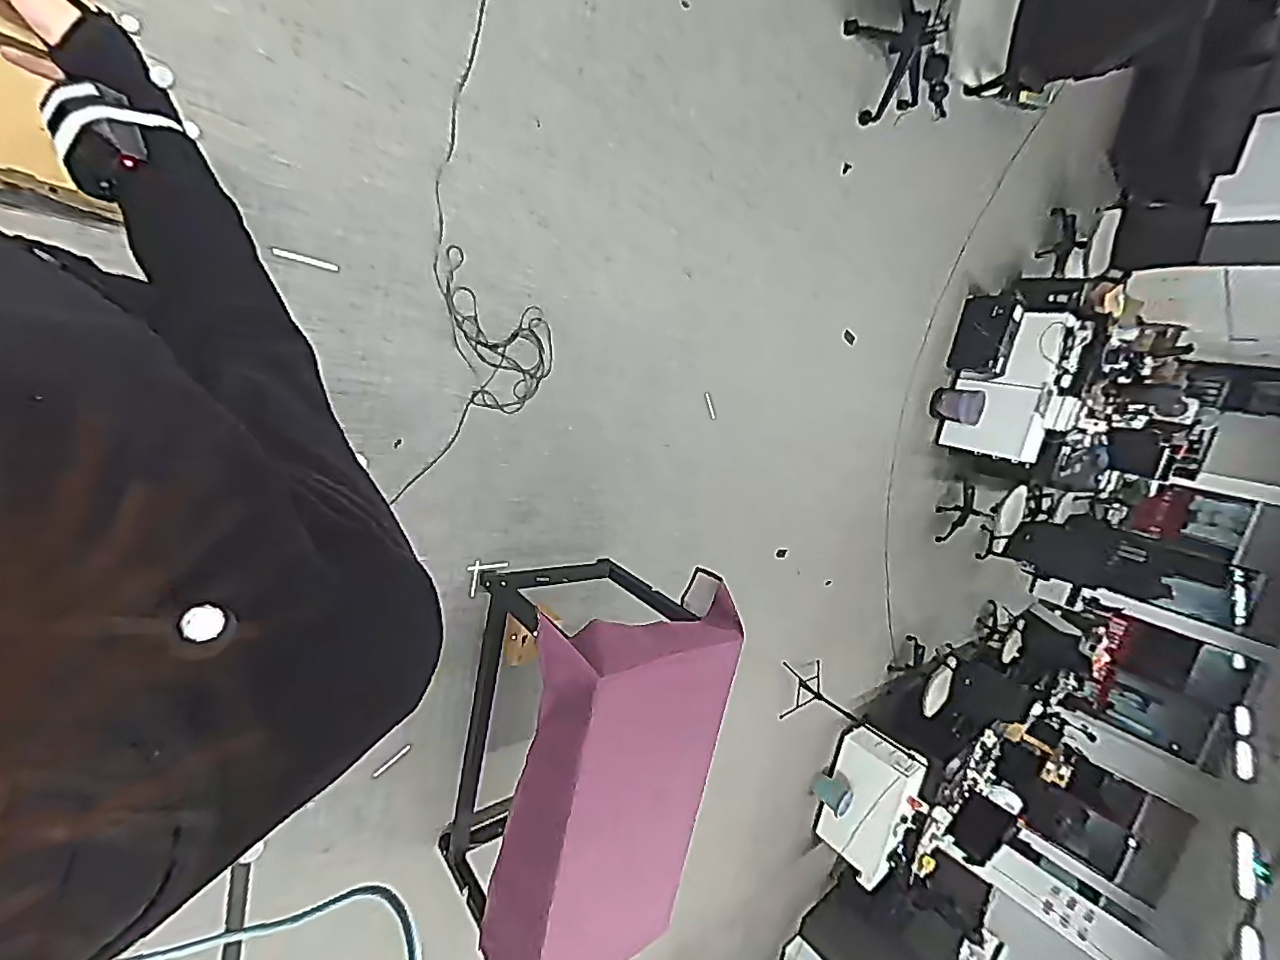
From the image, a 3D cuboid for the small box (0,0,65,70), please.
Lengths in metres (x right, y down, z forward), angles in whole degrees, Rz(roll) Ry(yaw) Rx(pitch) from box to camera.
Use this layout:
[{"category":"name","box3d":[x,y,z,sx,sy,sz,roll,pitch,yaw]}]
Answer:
[{"category":"small box","box3d":[-0.566,-0.461,0.419,0.168,0.176,0.179,3,111,-49]}]
